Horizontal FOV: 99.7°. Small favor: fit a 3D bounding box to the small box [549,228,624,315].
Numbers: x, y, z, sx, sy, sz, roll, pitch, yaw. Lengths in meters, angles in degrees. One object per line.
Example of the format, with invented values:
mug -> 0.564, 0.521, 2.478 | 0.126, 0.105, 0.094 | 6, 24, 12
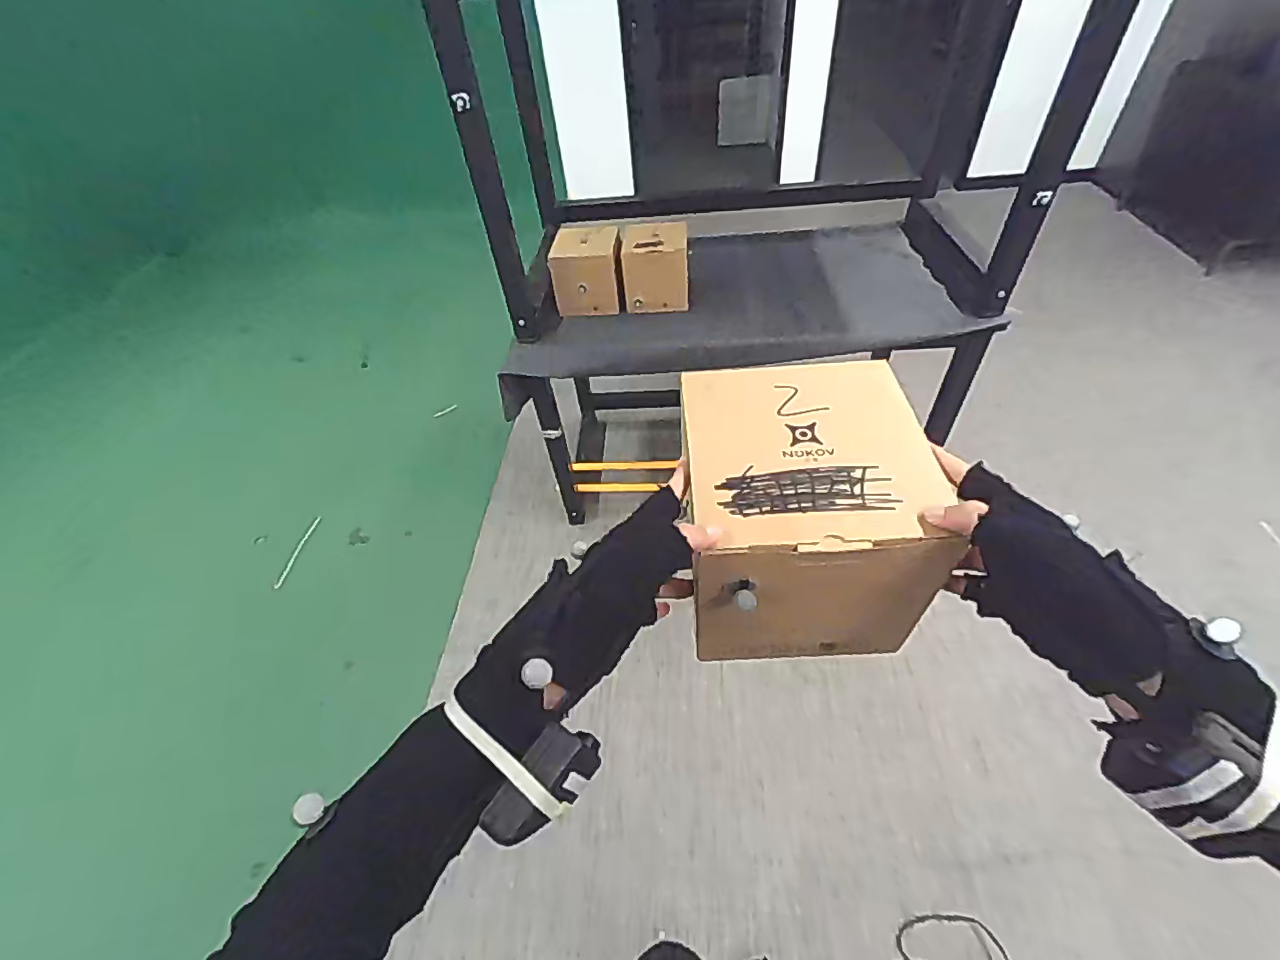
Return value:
small box -> -0.136, -0.558, 1.457 | 0.168, 0.176, 0.179 | 1, 47, 6
